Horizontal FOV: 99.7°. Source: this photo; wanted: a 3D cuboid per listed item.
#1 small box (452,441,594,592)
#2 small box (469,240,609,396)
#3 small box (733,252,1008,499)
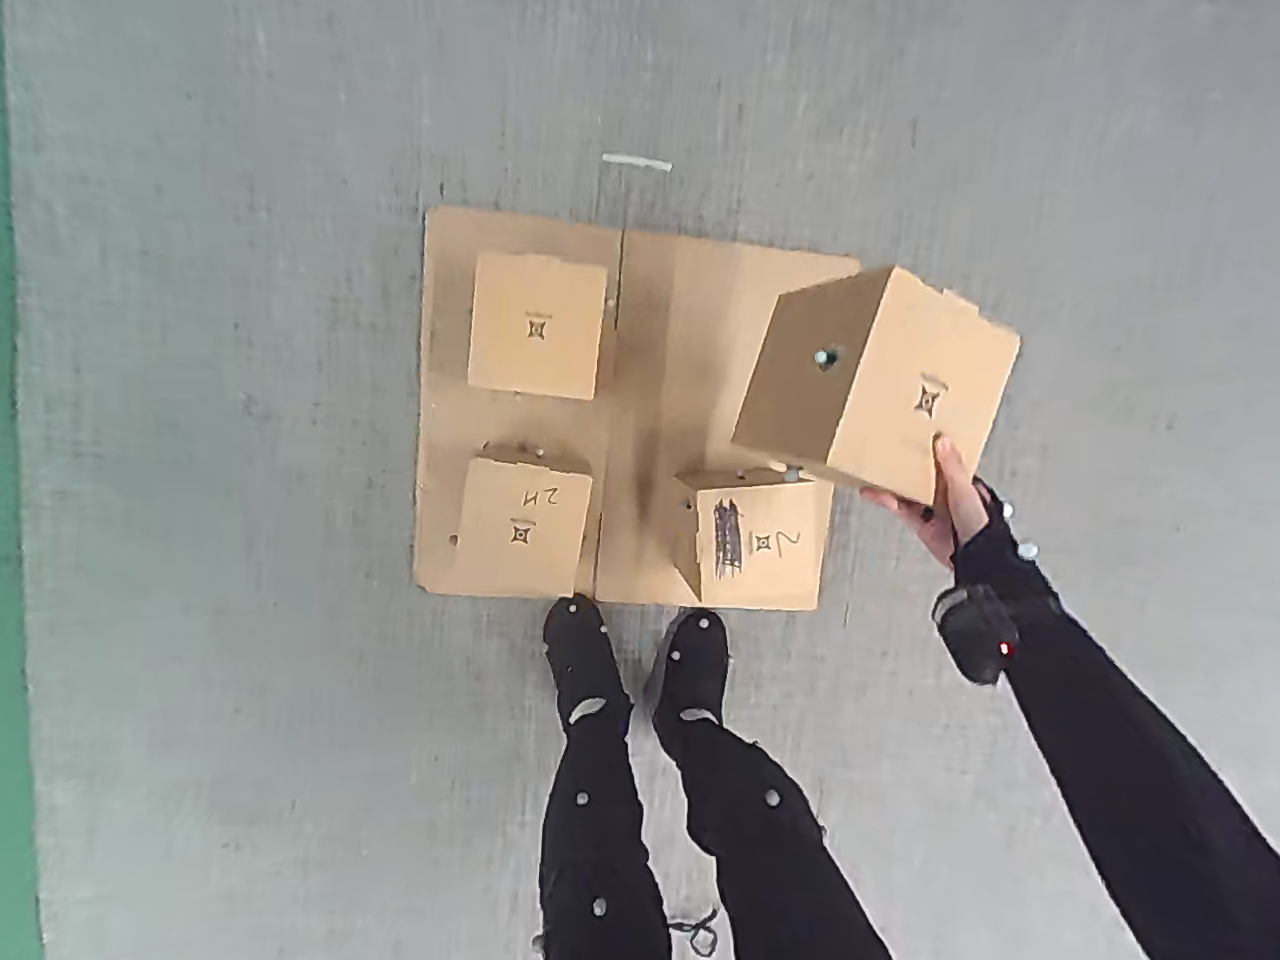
[{"bbox_3d":[-0.165,0.045,0.802,0.168,0.176,0.179,10,96,-9],"label":"small box"},{"bbox_3d":[-0.138,-0.217,0.772,0.168,0.176,0.179,6,96,-8],"label":"small box"},{"bbox_3d":[0.219,-0.098,0.552,0.168,0.176,0.179,17,93,-21],"label":"small box"}]
